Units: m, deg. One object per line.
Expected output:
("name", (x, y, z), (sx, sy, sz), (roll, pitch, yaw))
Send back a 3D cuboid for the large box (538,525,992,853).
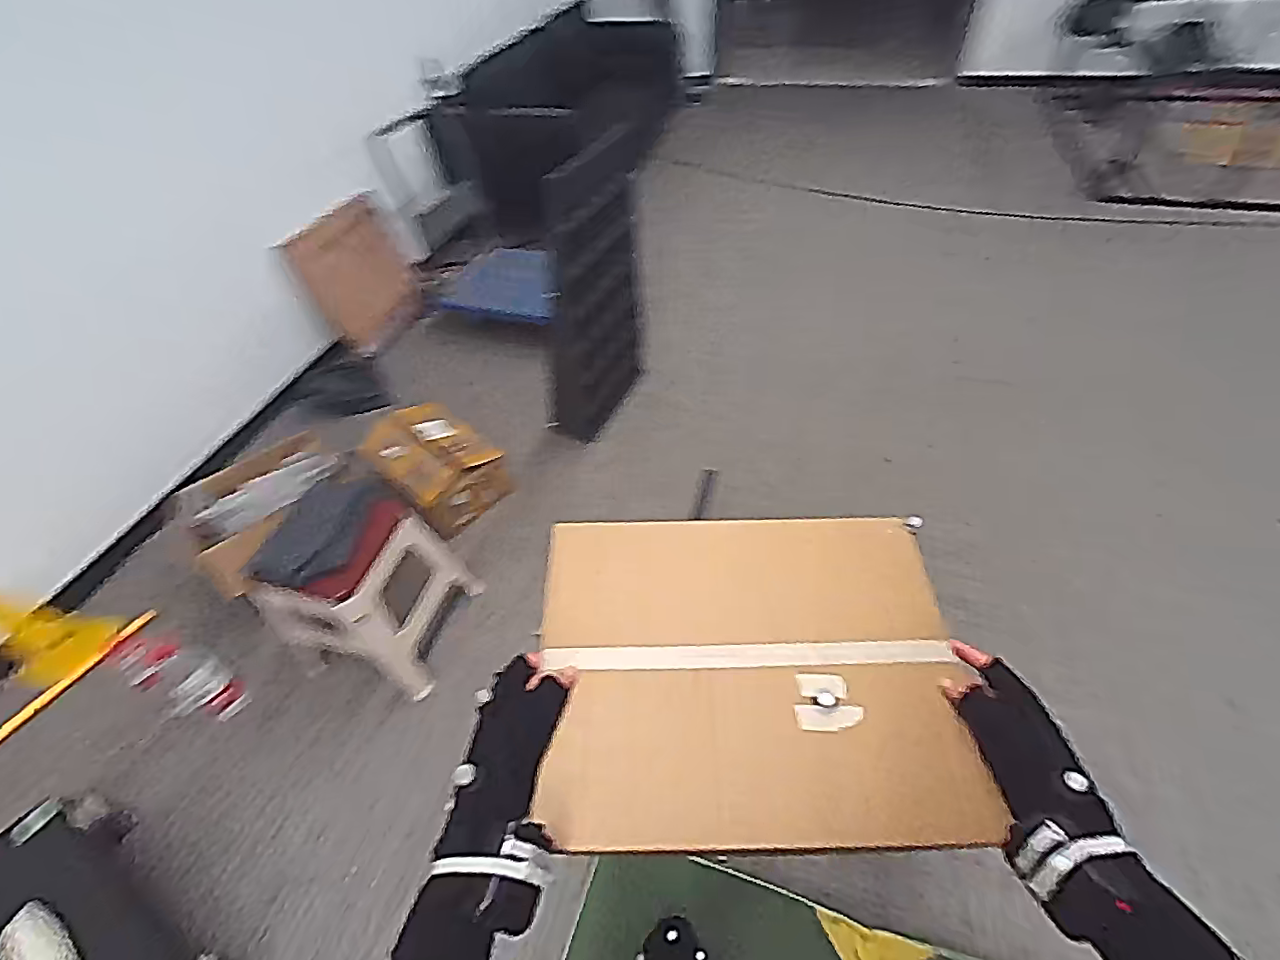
("large box", (0.106, 0.268, 0.672), (0.408, 0.320, 0.320), (0, 55, 0))
